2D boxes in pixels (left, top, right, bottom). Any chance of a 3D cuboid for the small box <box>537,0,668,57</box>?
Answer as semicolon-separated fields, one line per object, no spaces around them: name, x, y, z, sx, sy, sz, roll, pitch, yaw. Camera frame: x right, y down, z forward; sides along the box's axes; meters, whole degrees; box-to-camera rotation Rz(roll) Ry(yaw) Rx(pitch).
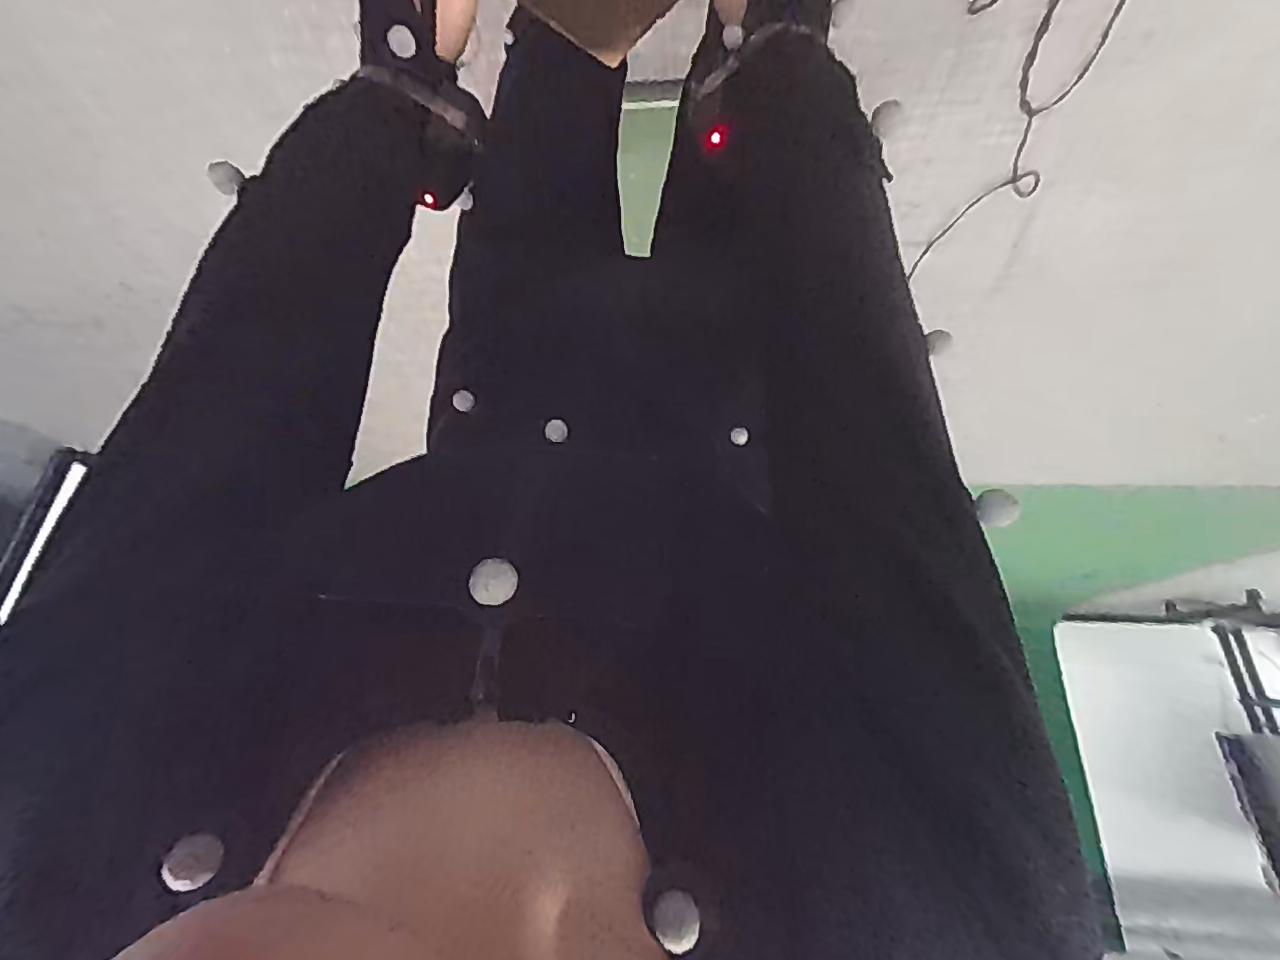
small box;-0.032;-0.470;0.376;0.179;0.176;0.168;10;166;-39
